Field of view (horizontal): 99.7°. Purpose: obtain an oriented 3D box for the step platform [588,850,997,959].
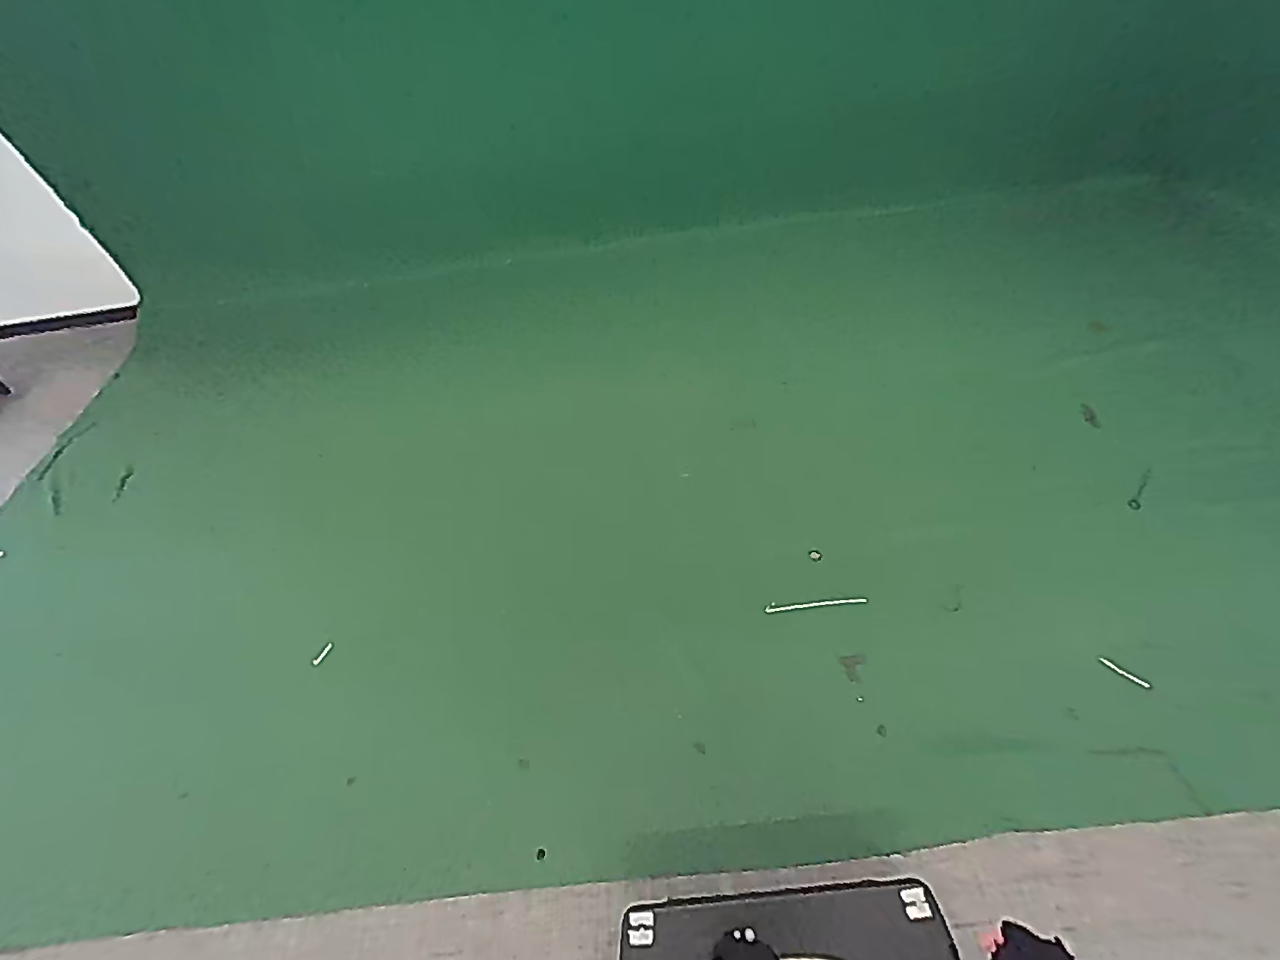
[{"bbox_3d":[0.261,0.870,0.964,0.684,0.204,0.286,-8,51,2],"label":"step platform"}]
